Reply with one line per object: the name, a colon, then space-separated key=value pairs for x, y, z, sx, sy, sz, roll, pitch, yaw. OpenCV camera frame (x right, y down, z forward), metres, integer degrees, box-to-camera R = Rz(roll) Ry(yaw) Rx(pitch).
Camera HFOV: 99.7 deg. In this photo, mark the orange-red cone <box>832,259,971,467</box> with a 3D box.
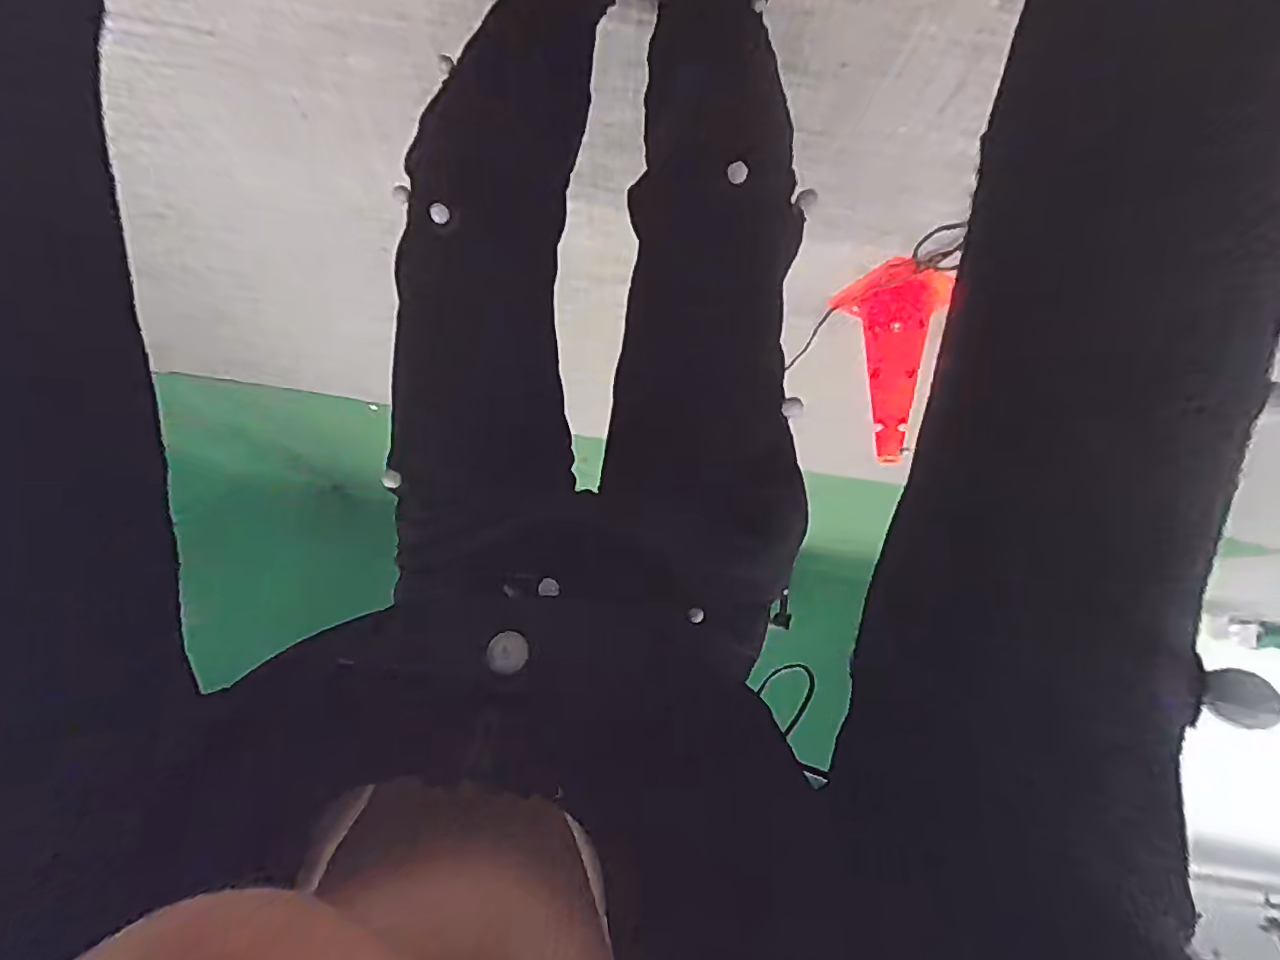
orange-red cone: x=0.495 y=-0.201 z=1.047 sx=0.199 sy=0.360 sz=0.198 roll=12 pitch=168 yaw=-21
